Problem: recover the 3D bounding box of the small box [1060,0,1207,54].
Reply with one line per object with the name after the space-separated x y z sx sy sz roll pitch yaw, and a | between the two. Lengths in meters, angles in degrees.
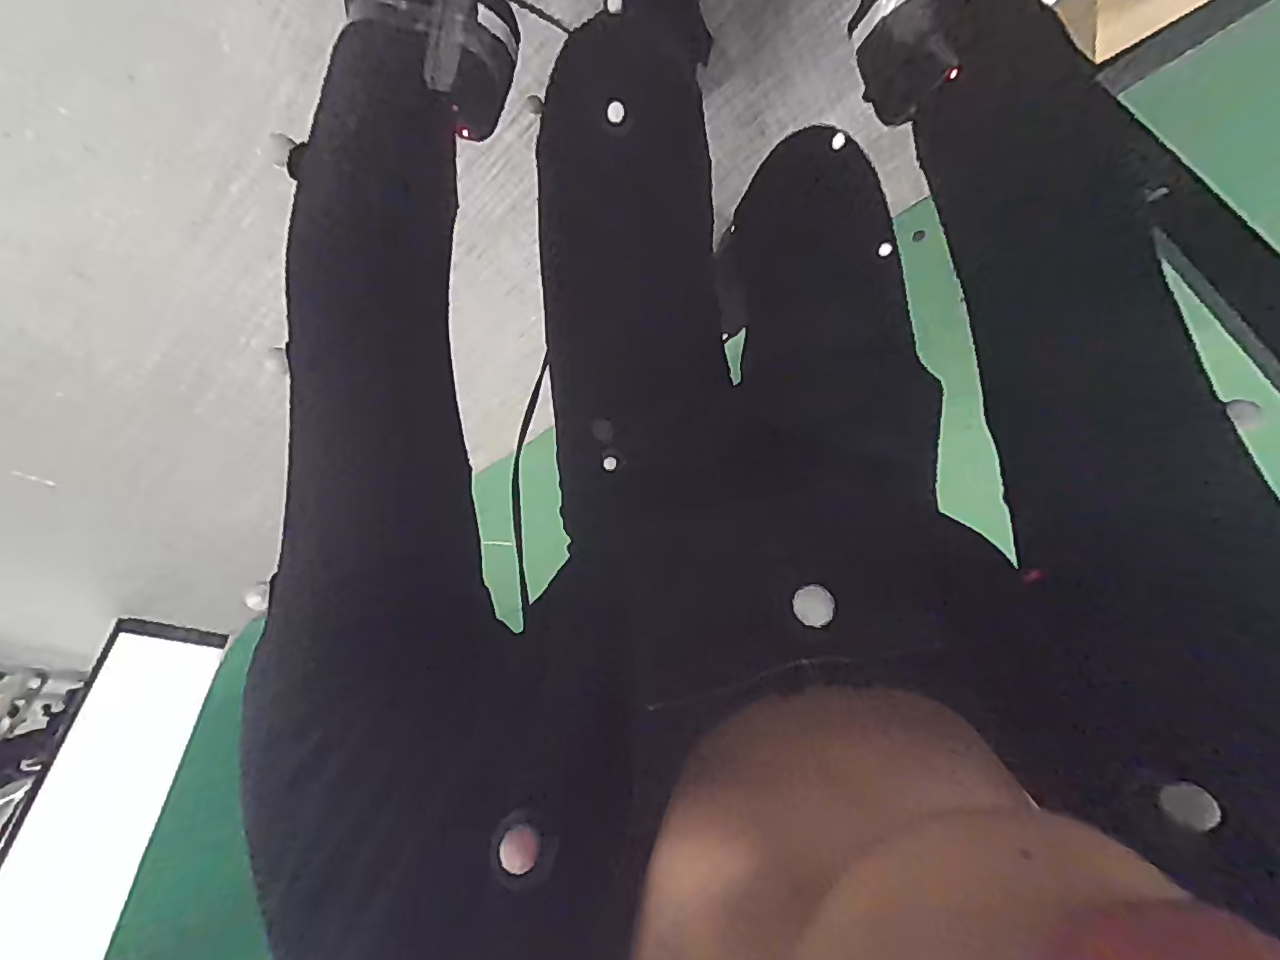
0.547 -0.613 0.561 0.168 0.176 0.179 -21 143 30 | small box
